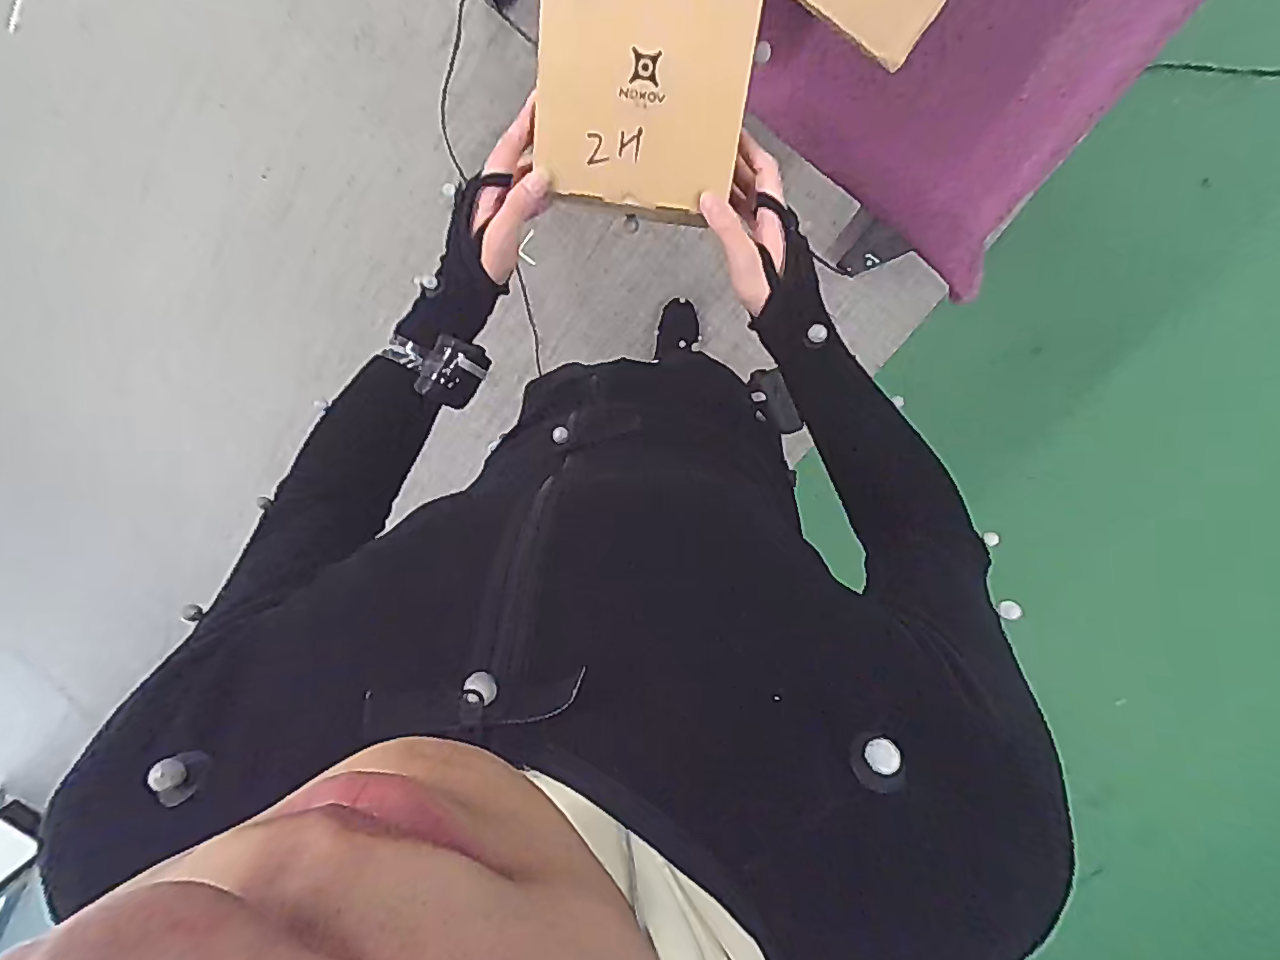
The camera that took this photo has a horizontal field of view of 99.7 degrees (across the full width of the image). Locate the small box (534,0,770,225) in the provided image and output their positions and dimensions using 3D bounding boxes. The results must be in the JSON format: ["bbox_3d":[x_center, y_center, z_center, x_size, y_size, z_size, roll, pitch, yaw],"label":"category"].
[{"bbox_3d":[0.007,-0.340,0.487,0.168,0.176,0.179,8,113,-2],"label":"small box"}]
